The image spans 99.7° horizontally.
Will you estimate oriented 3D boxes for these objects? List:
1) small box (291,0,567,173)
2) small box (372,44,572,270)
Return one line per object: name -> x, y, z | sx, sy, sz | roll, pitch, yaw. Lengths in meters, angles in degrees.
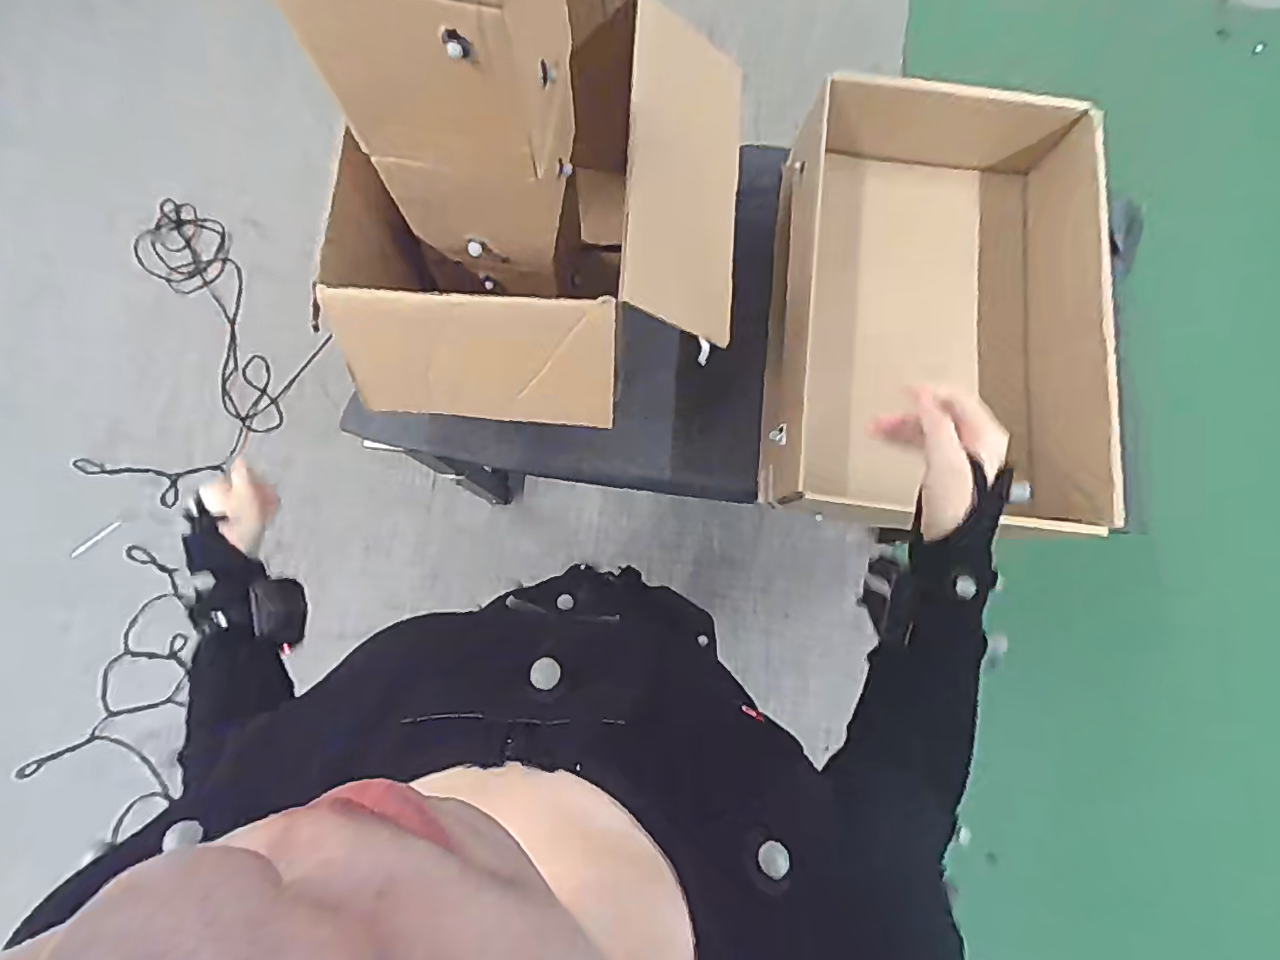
small box -> -0.167, -0.398, 0.460 | 0.179, 0.176, 0.168 | 9, 80, -2
small box -> -0.173, -0.374, 0.620 | 0.168, 0.176, 0.179 | 8, 82, -2
